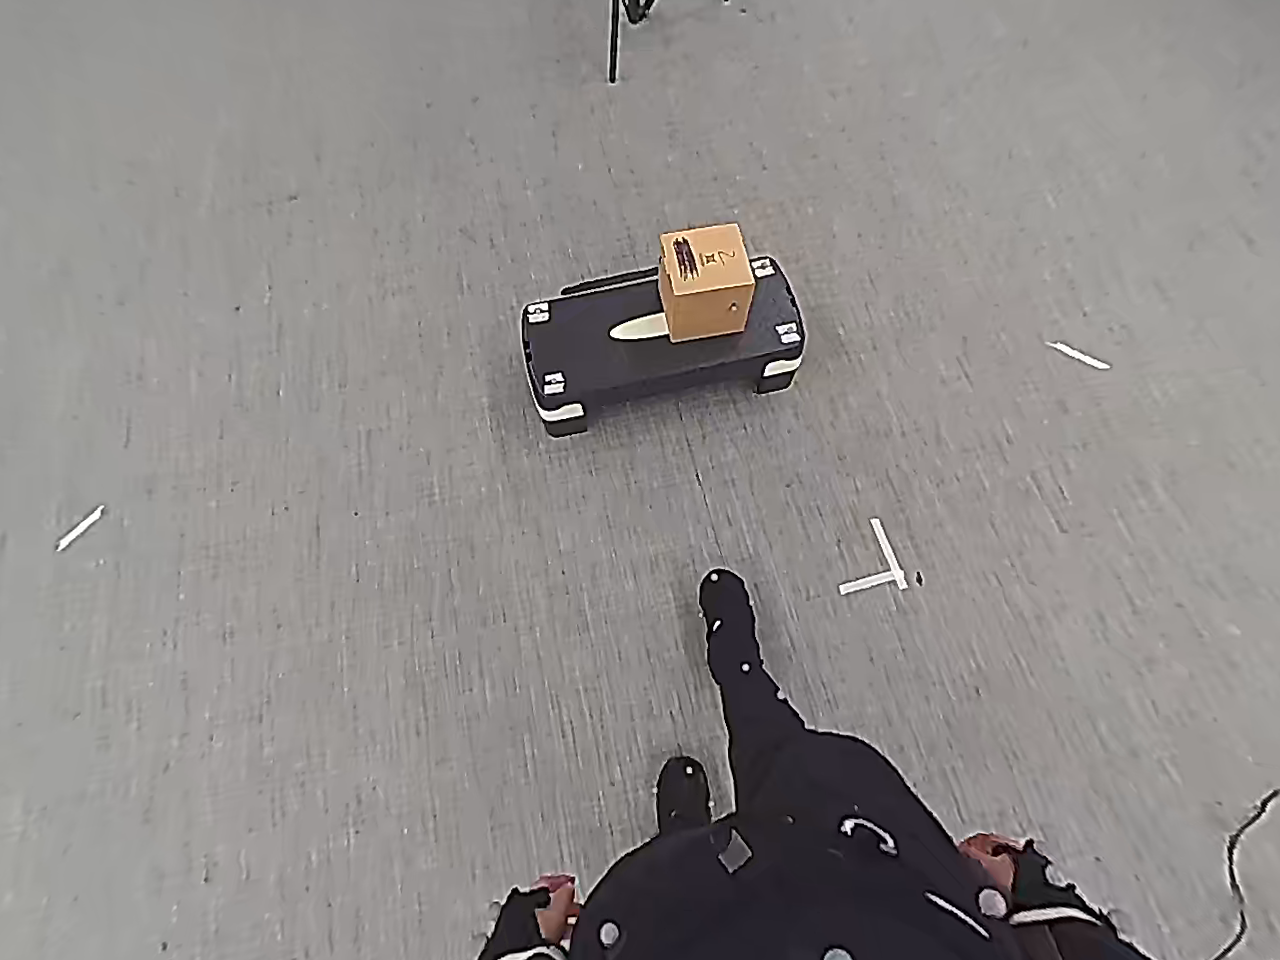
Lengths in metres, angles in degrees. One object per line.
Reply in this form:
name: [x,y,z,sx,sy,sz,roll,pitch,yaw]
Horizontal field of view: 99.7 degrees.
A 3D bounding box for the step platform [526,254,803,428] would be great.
step platform: [0.059,-0.356,1.387,0.684,0.204,0.286,-13,70,-3]
